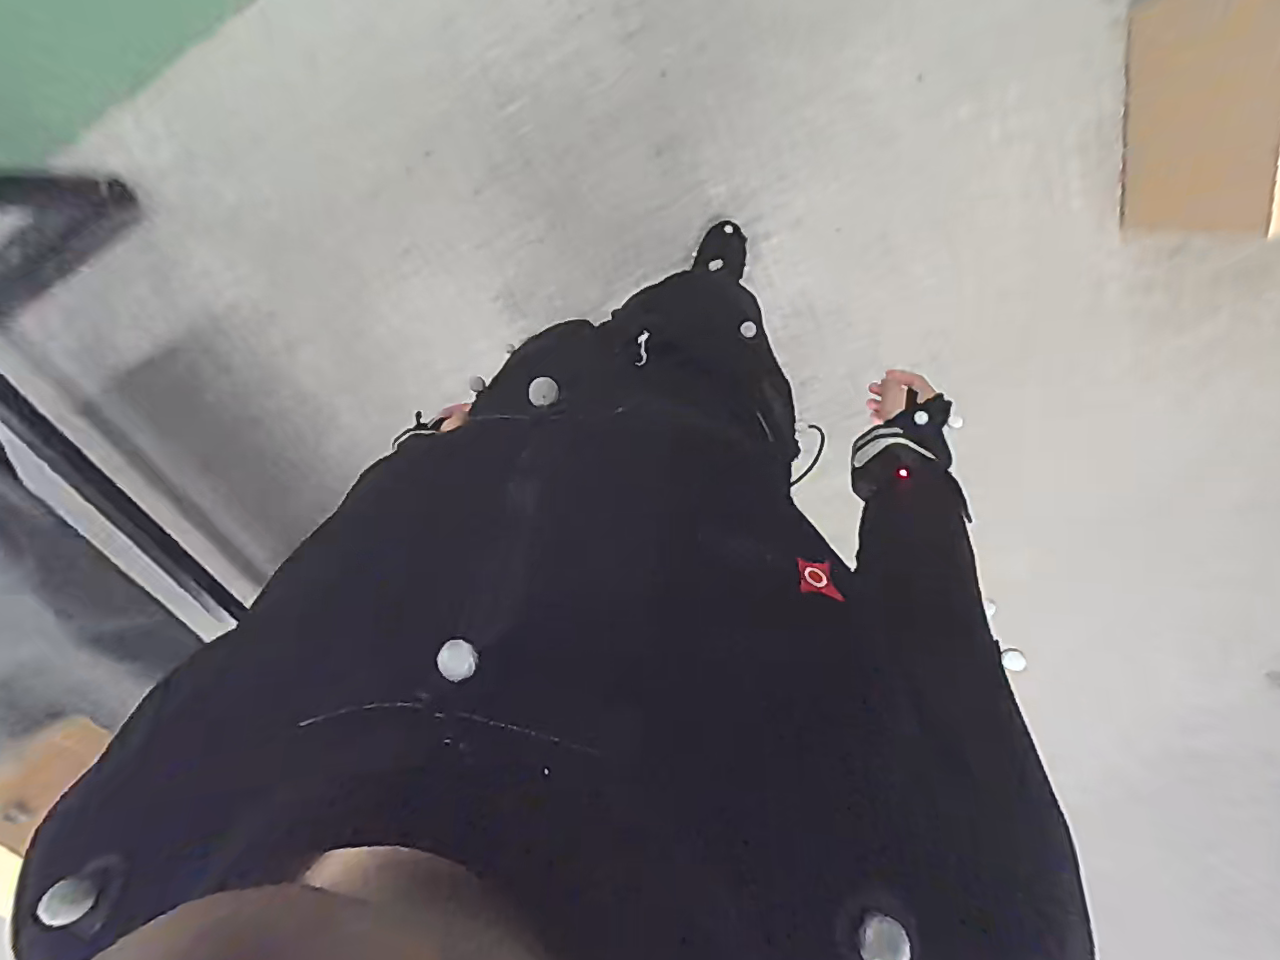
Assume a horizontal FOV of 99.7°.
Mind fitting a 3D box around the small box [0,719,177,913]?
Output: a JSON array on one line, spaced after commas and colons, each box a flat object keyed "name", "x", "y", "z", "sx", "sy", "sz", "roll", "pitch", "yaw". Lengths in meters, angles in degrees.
[{"name": "small box", "x": -0.867, "y": 0.496, "z": 0.809, "sx": 0.168, "sy": 0.176, "sz": 0.179, "roll": -26, "pitch": 112, "yaw": 14}]

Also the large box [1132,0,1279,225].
[{"name": "large box", "x": 1.097, "y": -0.692, "z": 0.895, "sx": 0.320, "sy": 0.320, "sz": 0.408, "roll": -18, "pitch": 116, "yaw": 11}]
